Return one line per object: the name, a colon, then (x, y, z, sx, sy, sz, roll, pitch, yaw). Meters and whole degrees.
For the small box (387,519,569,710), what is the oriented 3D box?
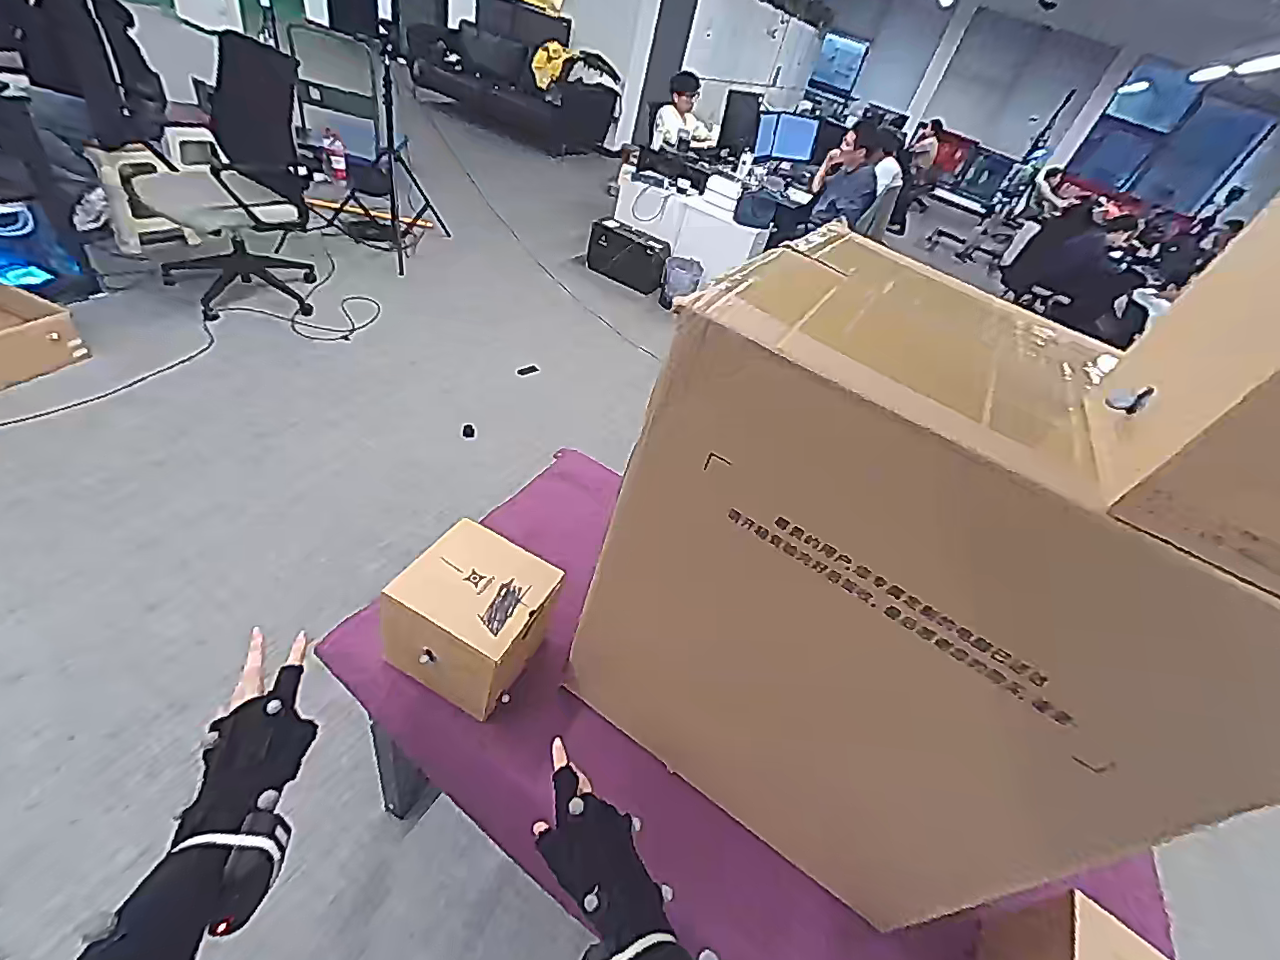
small box: (-0.228, 0.194, 0.765, 0.179, 0.176, 0.168, 27, 39, 9)

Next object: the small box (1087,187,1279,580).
small box: (0.413, -0.046, 0.317, 0.168, 0.176, 0.179, 30, 43, 13)

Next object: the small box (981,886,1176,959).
small box: (0.495, 0.604, 0.586, 0.168, 0.176, 0.179, 35, 41, 18)
